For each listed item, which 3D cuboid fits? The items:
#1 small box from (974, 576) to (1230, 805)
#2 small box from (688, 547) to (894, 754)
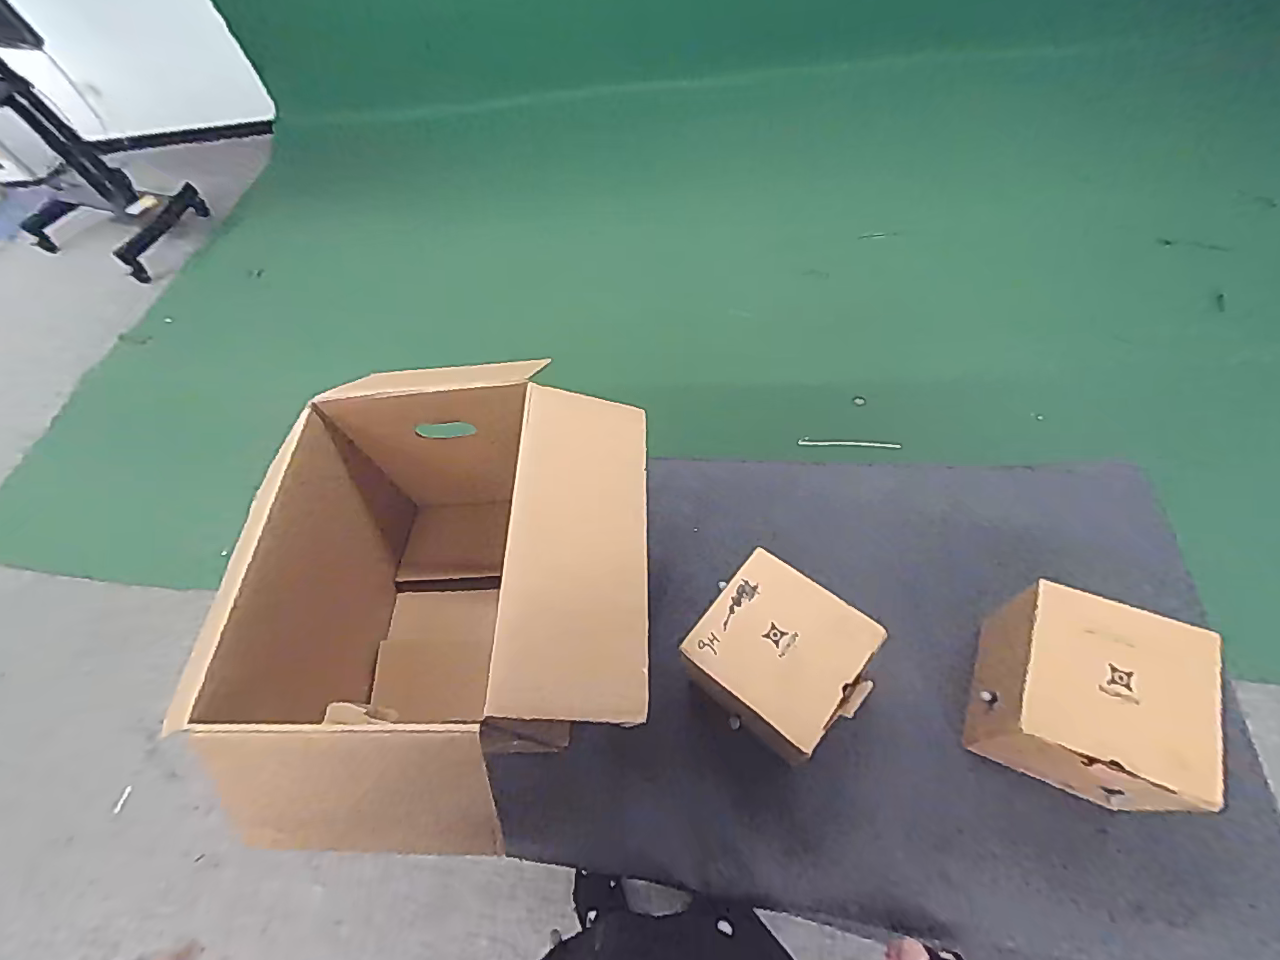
[{"bbox_3d":[0.506,0.242,0.616,0.168,0.176,0.179,18,63,19],"label":"small box"},{"bbox_3d":[0.183,0.222,0.690,0.179,0.176,0.168,35,70,26],"label":"small box"}]
